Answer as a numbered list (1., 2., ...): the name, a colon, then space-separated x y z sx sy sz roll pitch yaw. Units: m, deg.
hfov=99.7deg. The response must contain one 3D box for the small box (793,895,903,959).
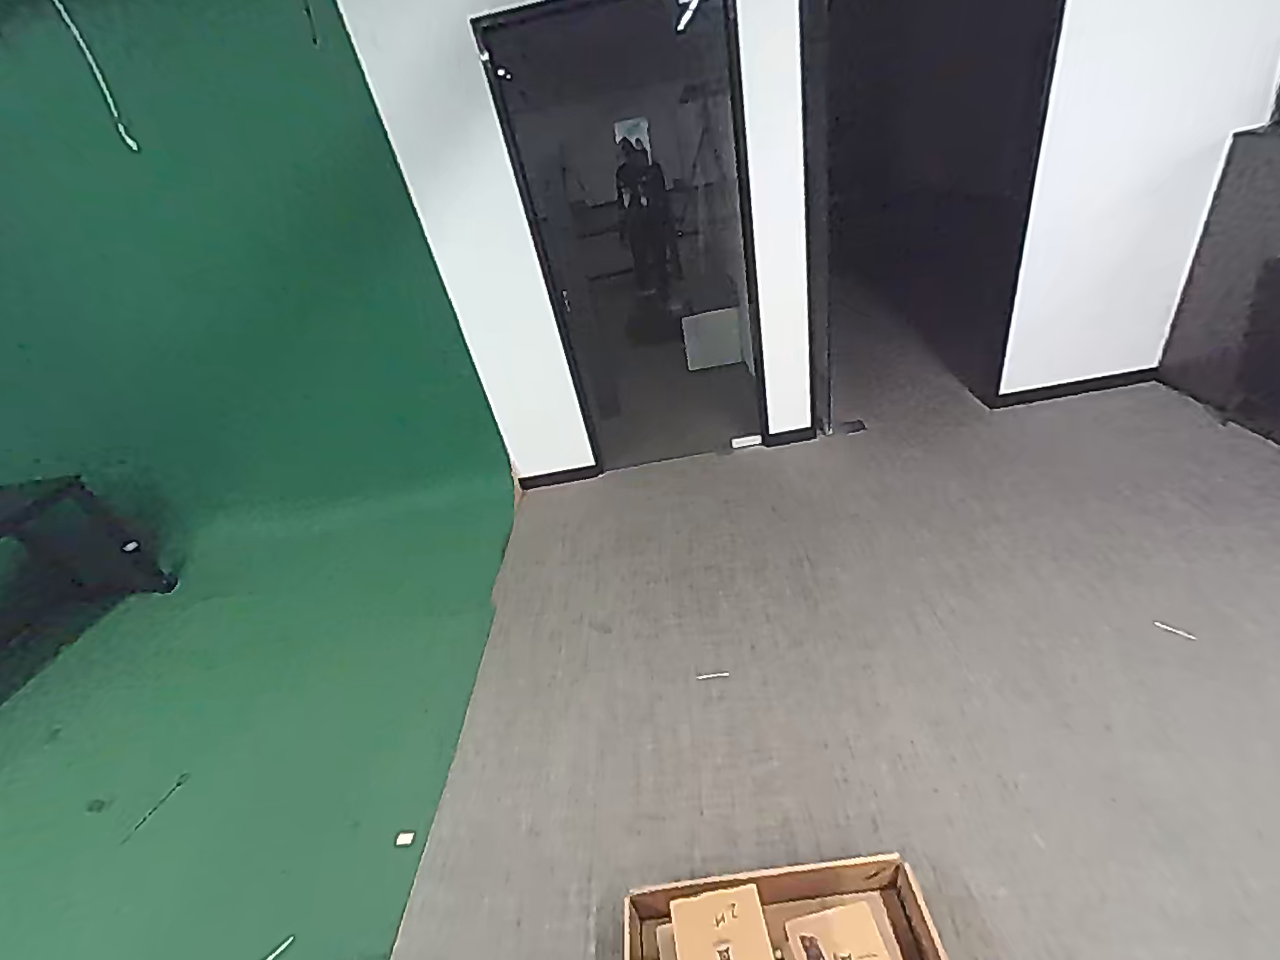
1. small box: 0.417 0.962 1.059 0.179 0.176 0.168 -15 33 0

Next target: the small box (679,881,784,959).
1. small box: 0.175 0.876 0.982 0.168 0.176 0.179 -12 34 0
